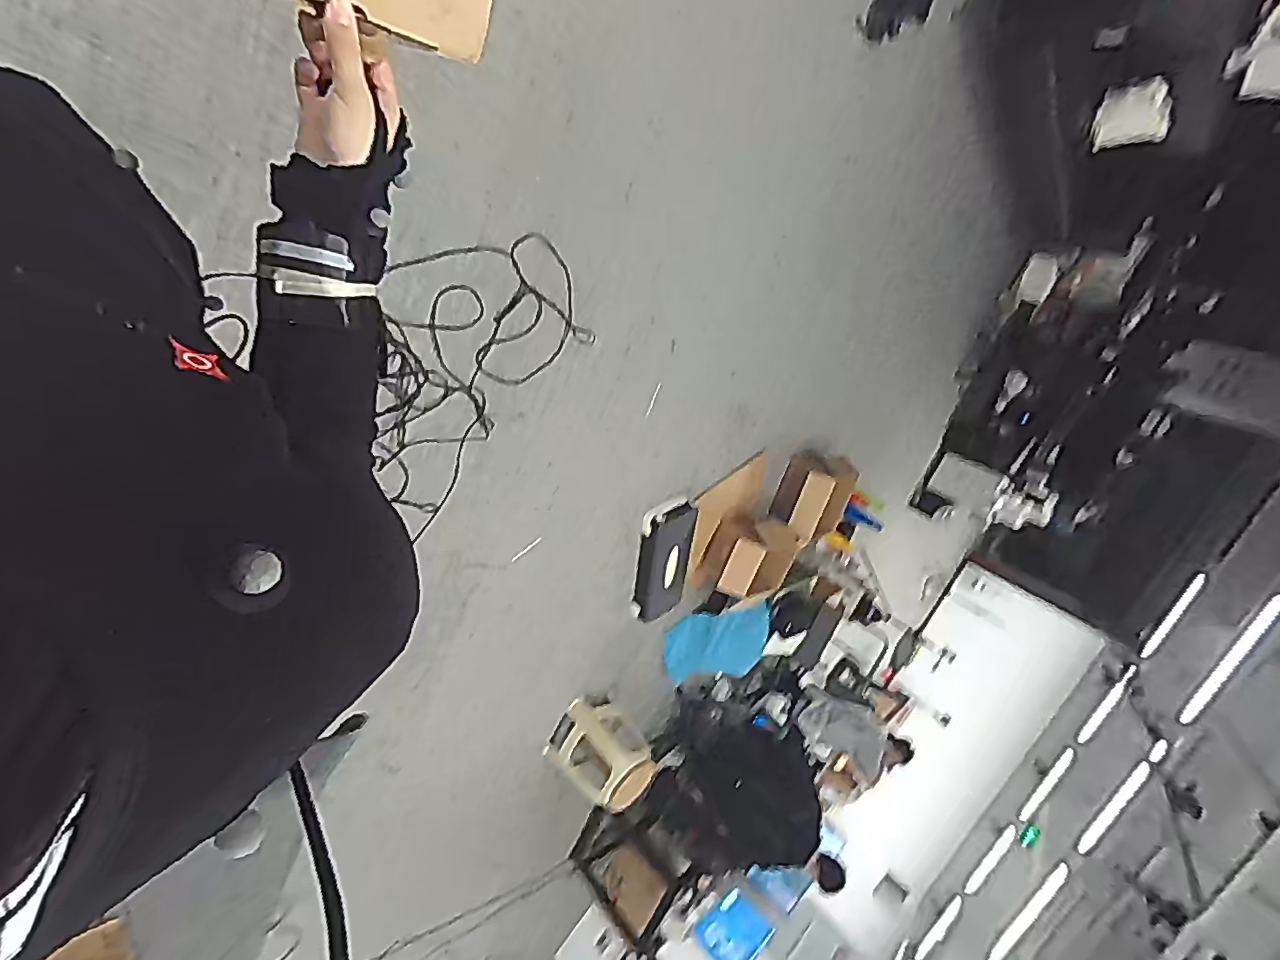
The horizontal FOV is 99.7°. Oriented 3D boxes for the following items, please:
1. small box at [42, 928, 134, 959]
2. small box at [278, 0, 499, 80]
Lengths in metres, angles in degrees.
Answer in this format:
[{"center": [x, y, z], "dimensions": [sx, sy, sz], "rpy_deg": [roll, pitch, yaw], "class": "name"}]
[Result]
[{"center": [-0.717, 0.708, 0.652], "dimensions": [0.168, 0.176, 0.179], "rpy_deg": [-7, 122, -46], "class": "small box"}, {"center": [-0.182, -0.408, 0.343], "dimensions": [0.168, 0.176, 0.179], "rpy_deg": [-4, 138, -37], "class": "small box"}]
